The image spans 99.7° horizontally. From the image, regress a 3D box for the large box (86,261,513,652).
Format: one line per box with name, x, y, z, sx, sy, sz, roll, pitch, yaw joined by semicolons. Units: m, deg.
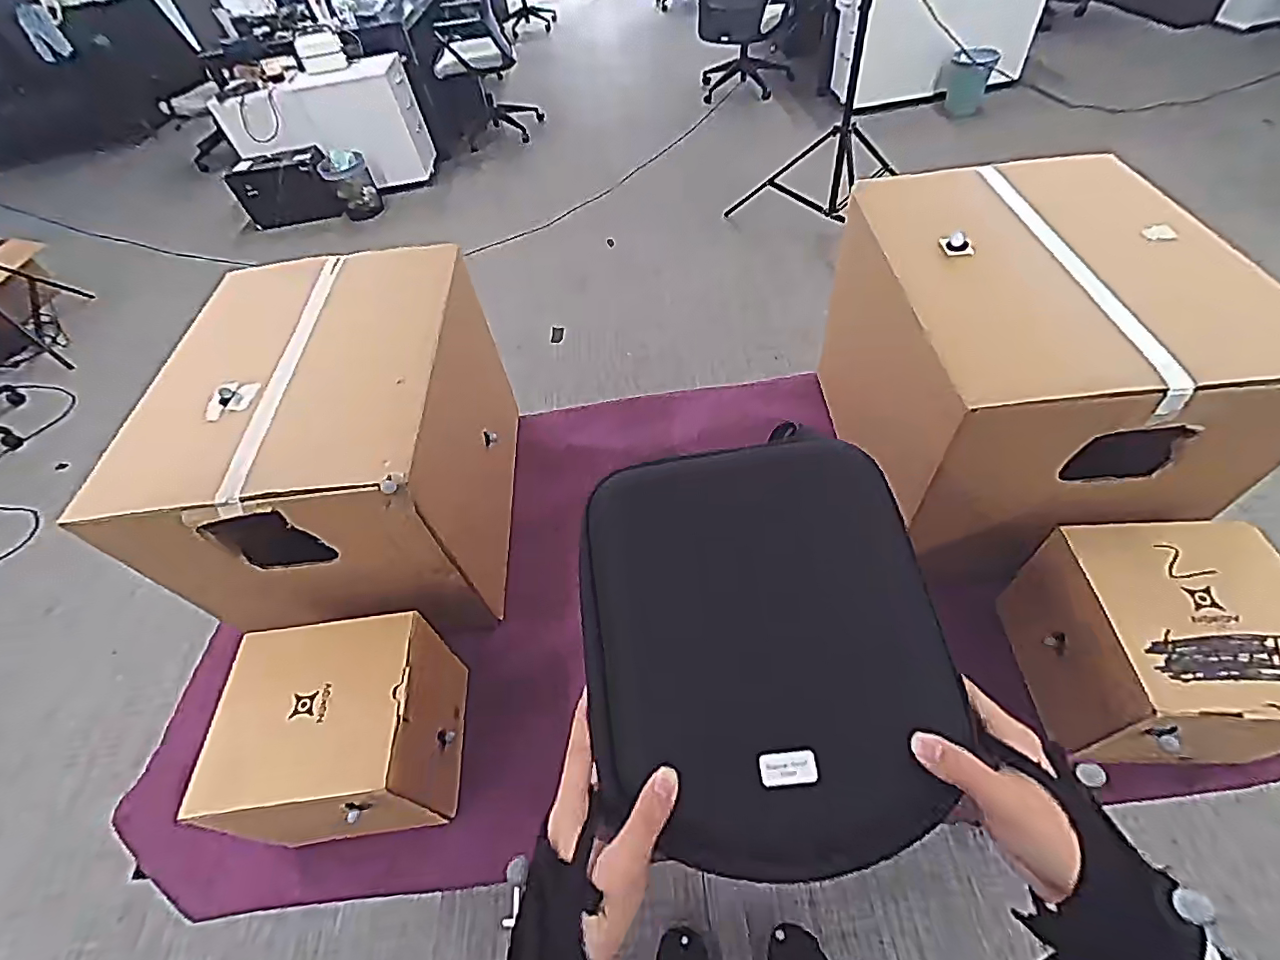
large box;-0.362;-0.030;0.723;0.320;0.320;0.408;-8;54;1
